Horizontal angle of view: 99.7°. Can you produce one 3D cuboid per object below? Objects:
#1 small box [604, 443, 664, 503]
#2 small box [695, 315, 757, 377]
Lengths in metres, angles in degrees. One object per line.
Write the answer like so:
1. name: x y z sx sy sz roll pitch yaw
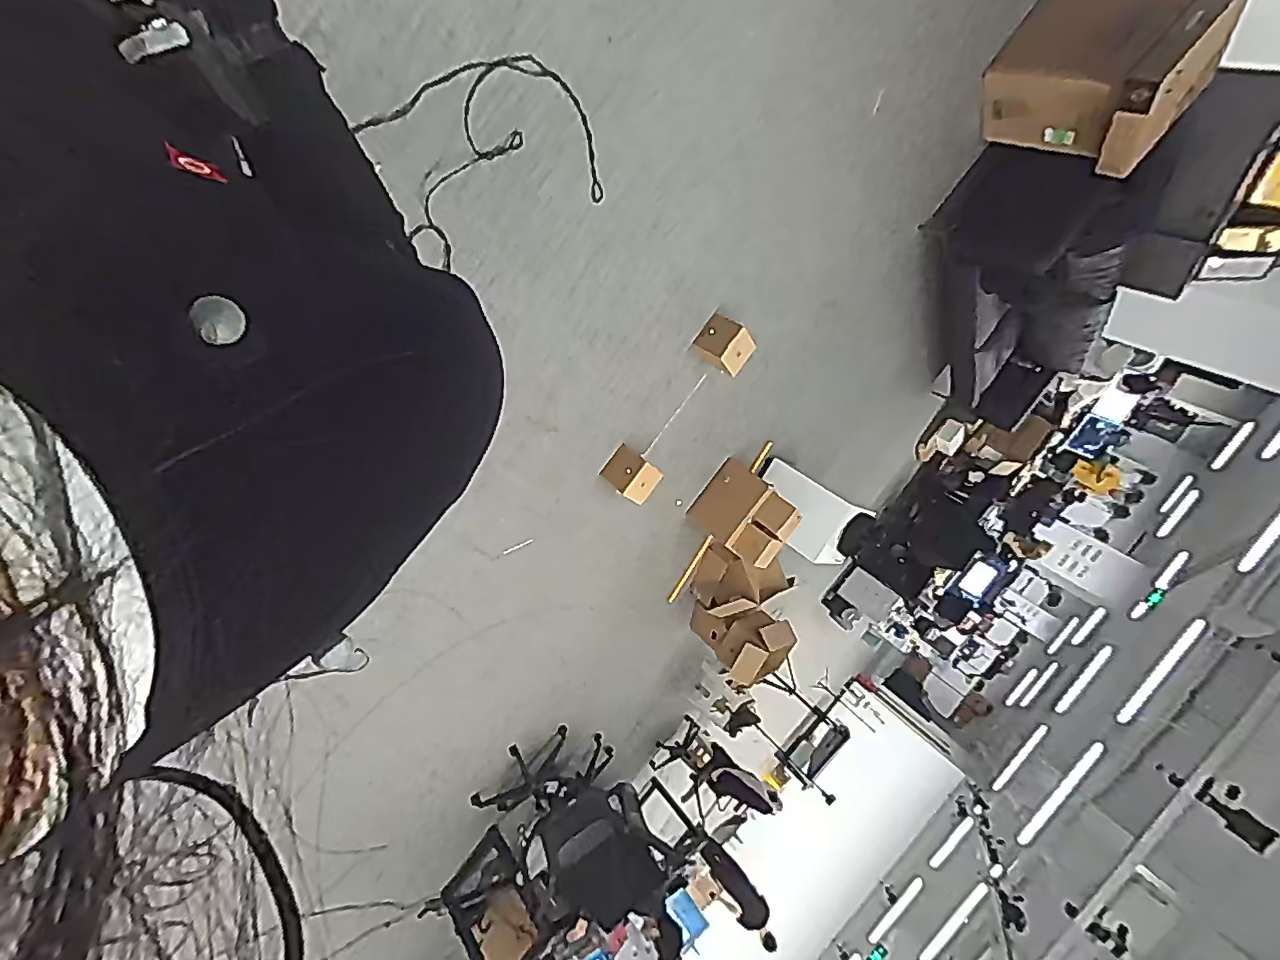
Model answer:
1. small box: -0.036 -0.031 2.380 0.179 0.176 0.168 -53 145 3
2. small box: 0.369 -0.582 2.332 0.168 0.176 0.179 -53 145 3
